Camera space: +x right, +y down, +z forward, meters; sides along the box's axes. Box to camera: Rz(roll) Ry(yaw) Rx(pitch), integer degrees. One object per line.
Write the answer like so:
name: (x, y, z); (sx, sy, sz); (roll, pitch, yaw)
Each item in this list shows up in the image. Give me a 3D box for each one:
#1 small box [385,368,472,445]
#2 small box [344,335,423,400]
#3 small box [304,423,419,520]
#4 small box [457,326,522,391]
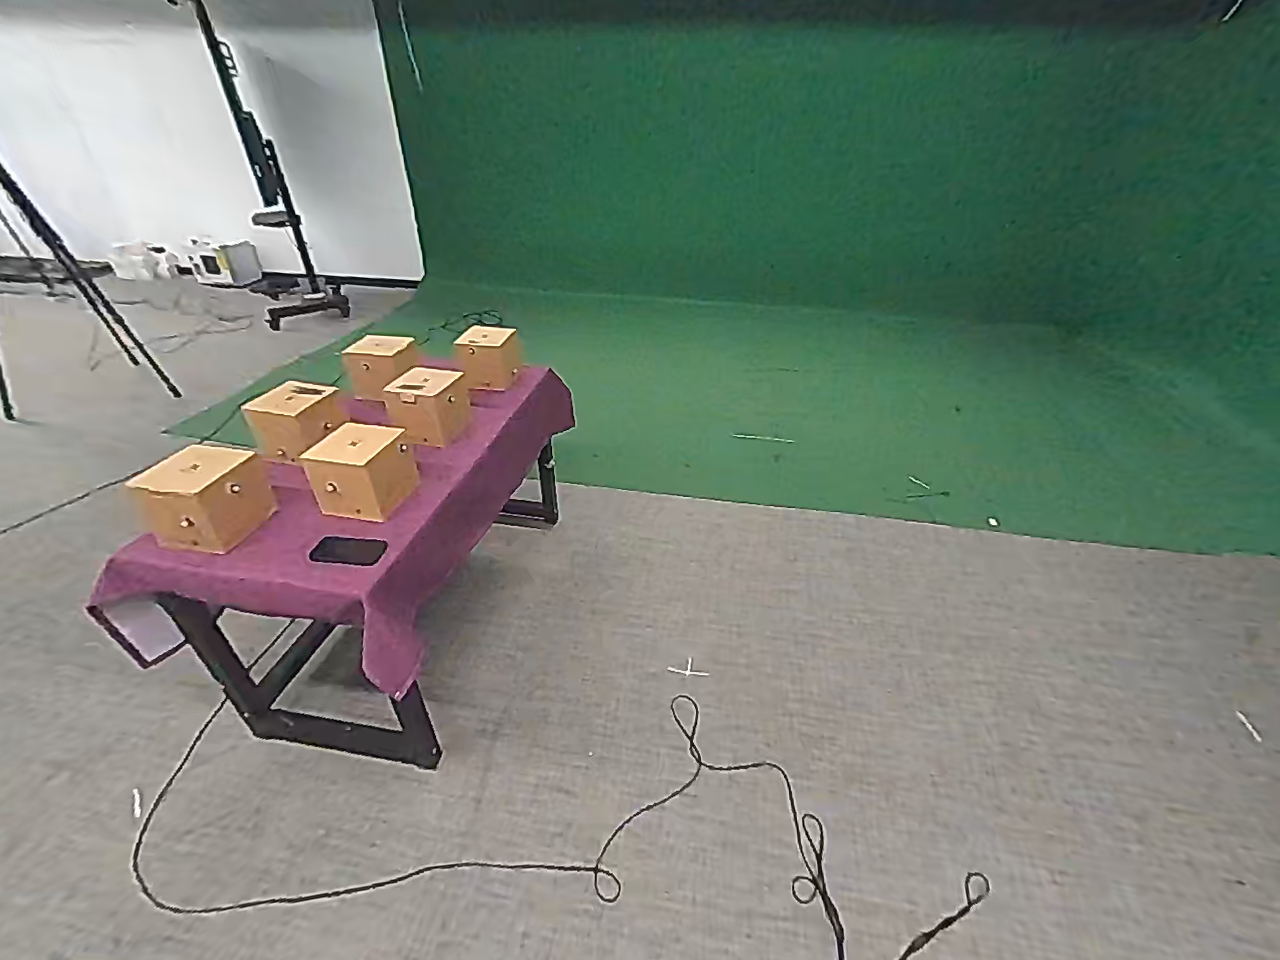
small box: (-0.620, -0.219, 1.614); (0.168, 0.176, 0.179); (9, 34, 11)
small box: (-0.859, -0.380, 1.838); (0.179, 0.176, 0.168); (5, 35, 6)
small box: (-0.668, -0.021, 1.326); (0.168, 0.176, 0.179); (7, 34, 9)
small box: (-0.530, -0.434, 1.927); (0.168, 0.176, 0.179); (6, 35, 7)
